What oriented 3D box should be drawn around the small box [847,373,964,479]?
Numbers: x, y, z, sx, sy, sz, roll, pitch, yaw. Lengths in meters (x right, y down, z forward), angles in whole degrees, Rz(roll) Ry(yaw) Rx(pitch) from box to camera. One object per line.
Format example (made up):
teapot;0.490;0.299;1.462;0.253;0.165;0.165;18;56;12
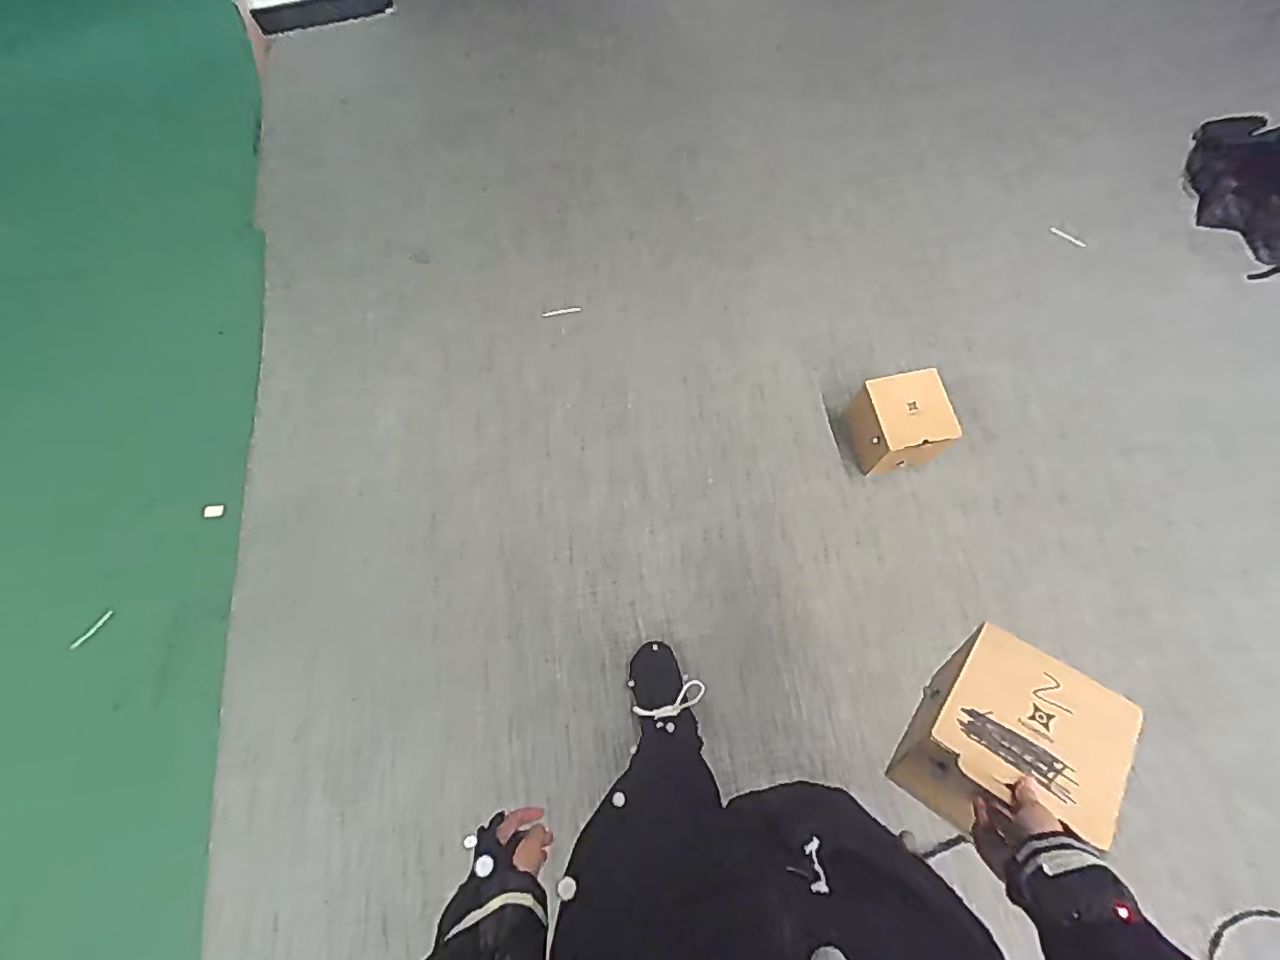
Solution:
small box;0.607;-0.121;1.263;0.168;0.176;0.179;-11;71;-1
